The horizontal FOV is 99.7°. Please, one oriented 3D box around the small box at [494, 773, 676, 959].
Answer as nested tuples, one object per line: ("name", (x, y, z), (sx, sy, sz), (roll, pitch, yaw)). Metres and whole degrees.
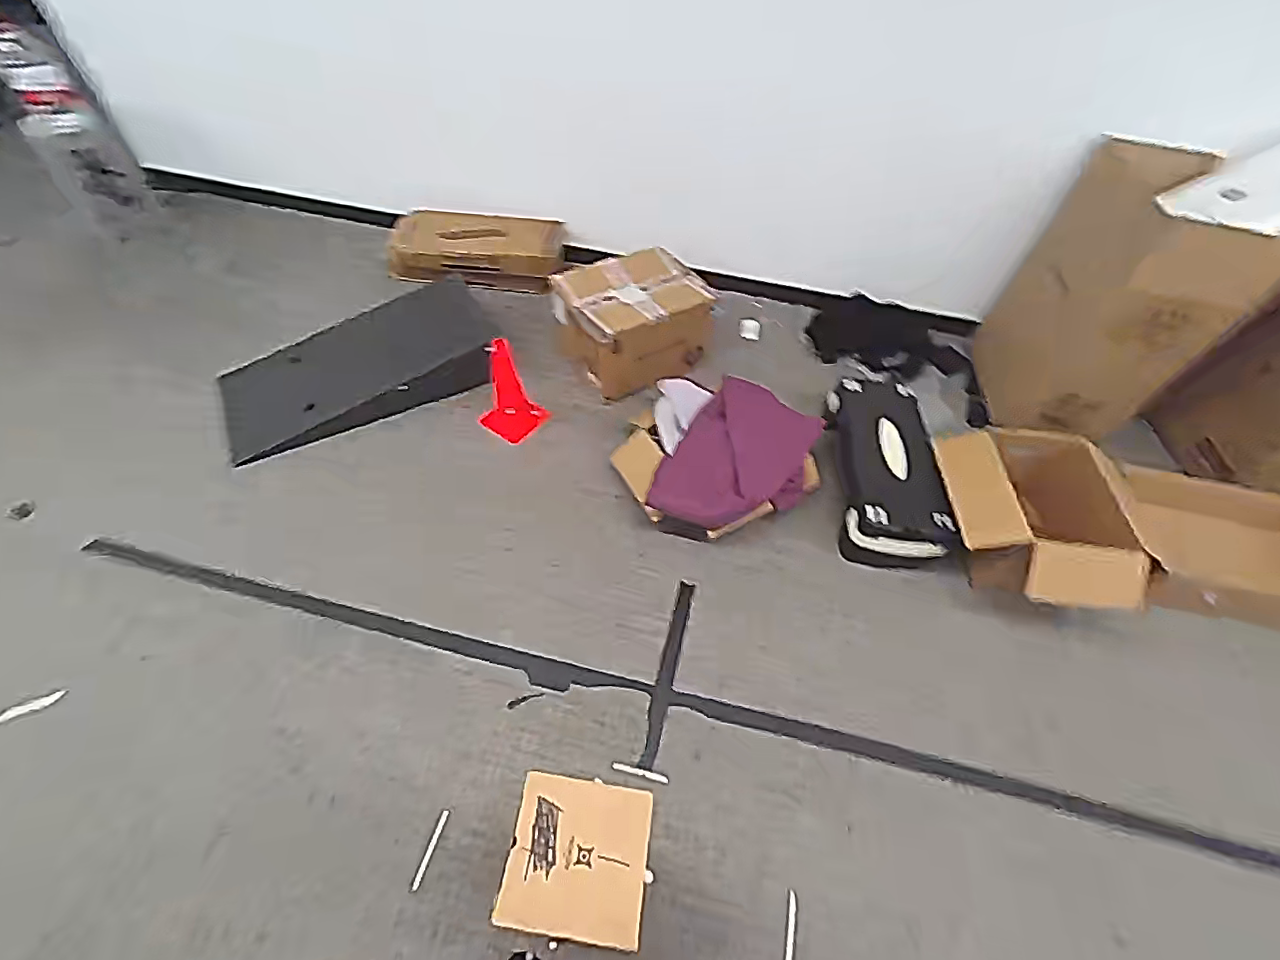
("small box", (-0.058, 0.478, 0.662), (0.179, 0.176, 0.168), (9, 52, 2))
